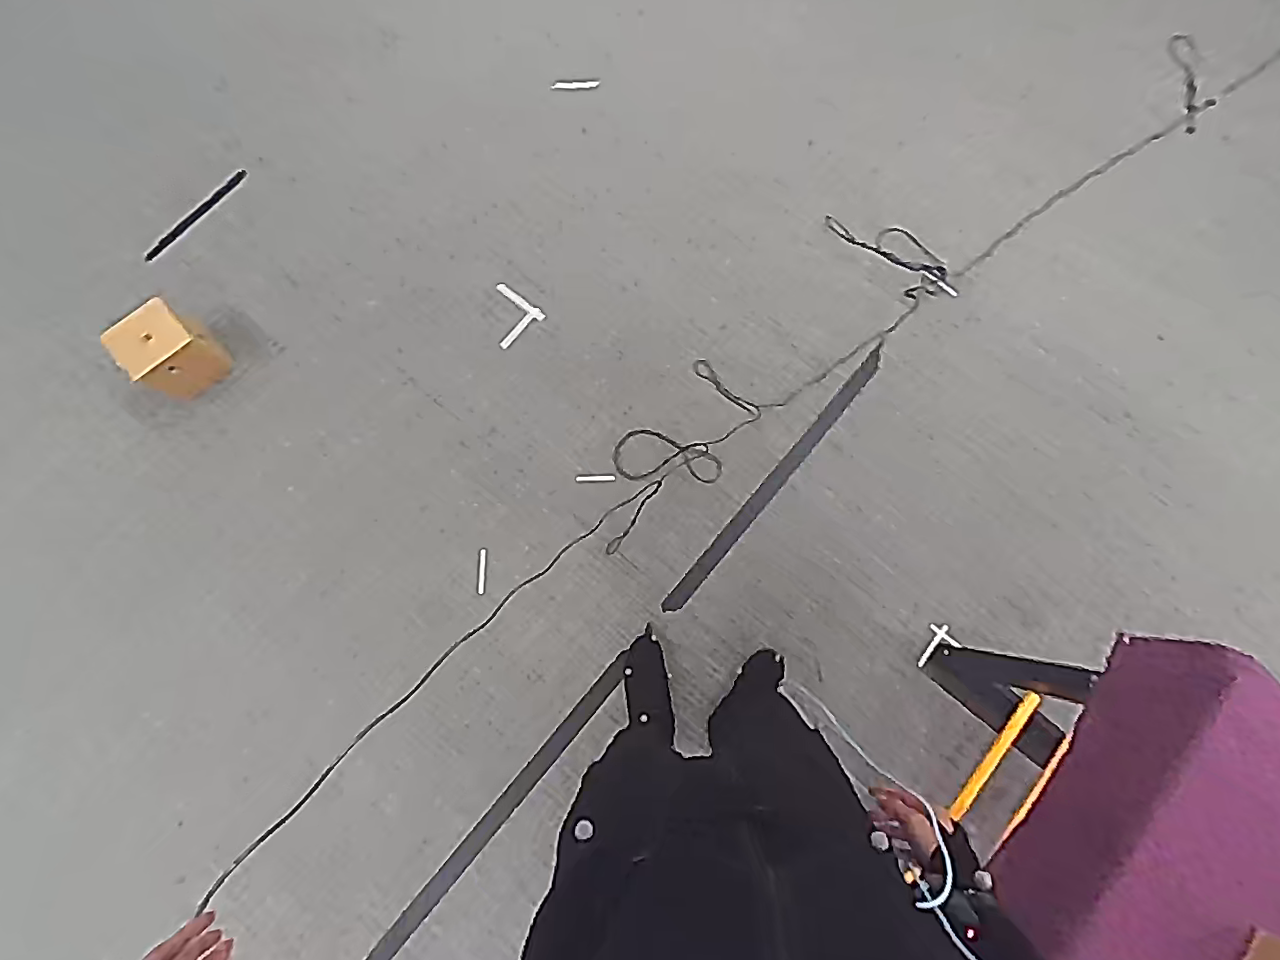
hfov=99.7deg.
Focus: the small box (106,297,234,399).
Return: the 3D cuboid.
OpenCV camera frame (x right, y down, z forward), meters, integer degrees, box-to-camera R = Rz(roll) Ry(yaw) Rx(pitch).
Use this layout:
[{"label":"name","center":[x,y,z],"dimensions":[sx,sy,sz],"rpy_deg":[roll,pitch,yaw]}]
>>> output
[{"label":"small box","center":[-1.263,-0.353,1.474],"dimensions":[0.179,0.176,0.168],"rpy_deg":[-42,84,-7]}]
